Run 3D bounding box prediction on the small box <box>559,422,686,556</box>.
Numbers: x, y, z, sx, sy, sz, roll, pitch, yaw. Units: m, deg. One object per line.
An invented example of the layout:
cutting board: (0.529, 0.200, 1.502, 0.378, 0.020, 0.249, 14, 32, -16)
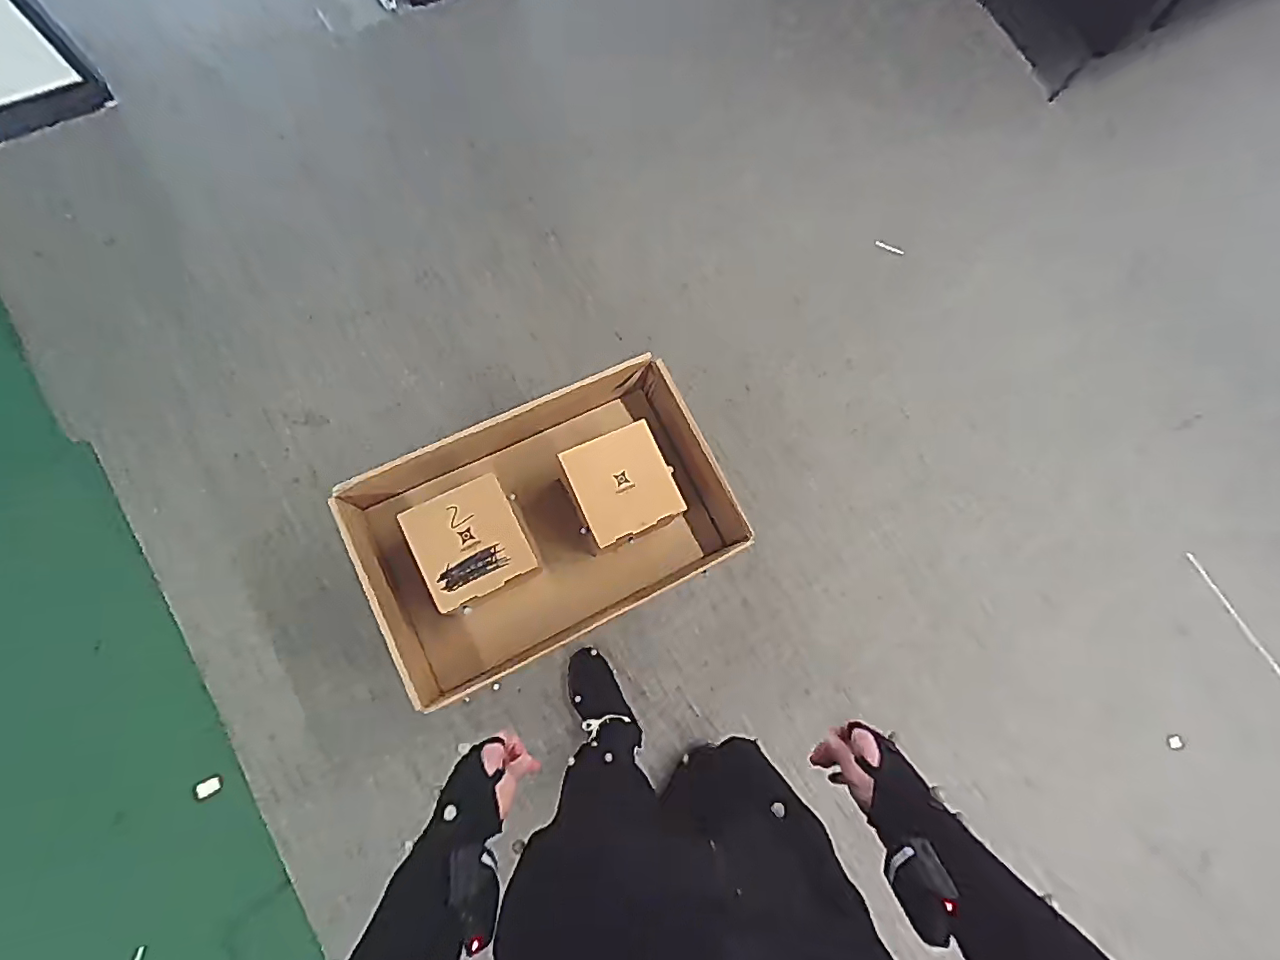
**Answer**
small box: (-0.041, 0.024, 0.979, 0.168, 0.176, 0.179, -24, 82, -12)
